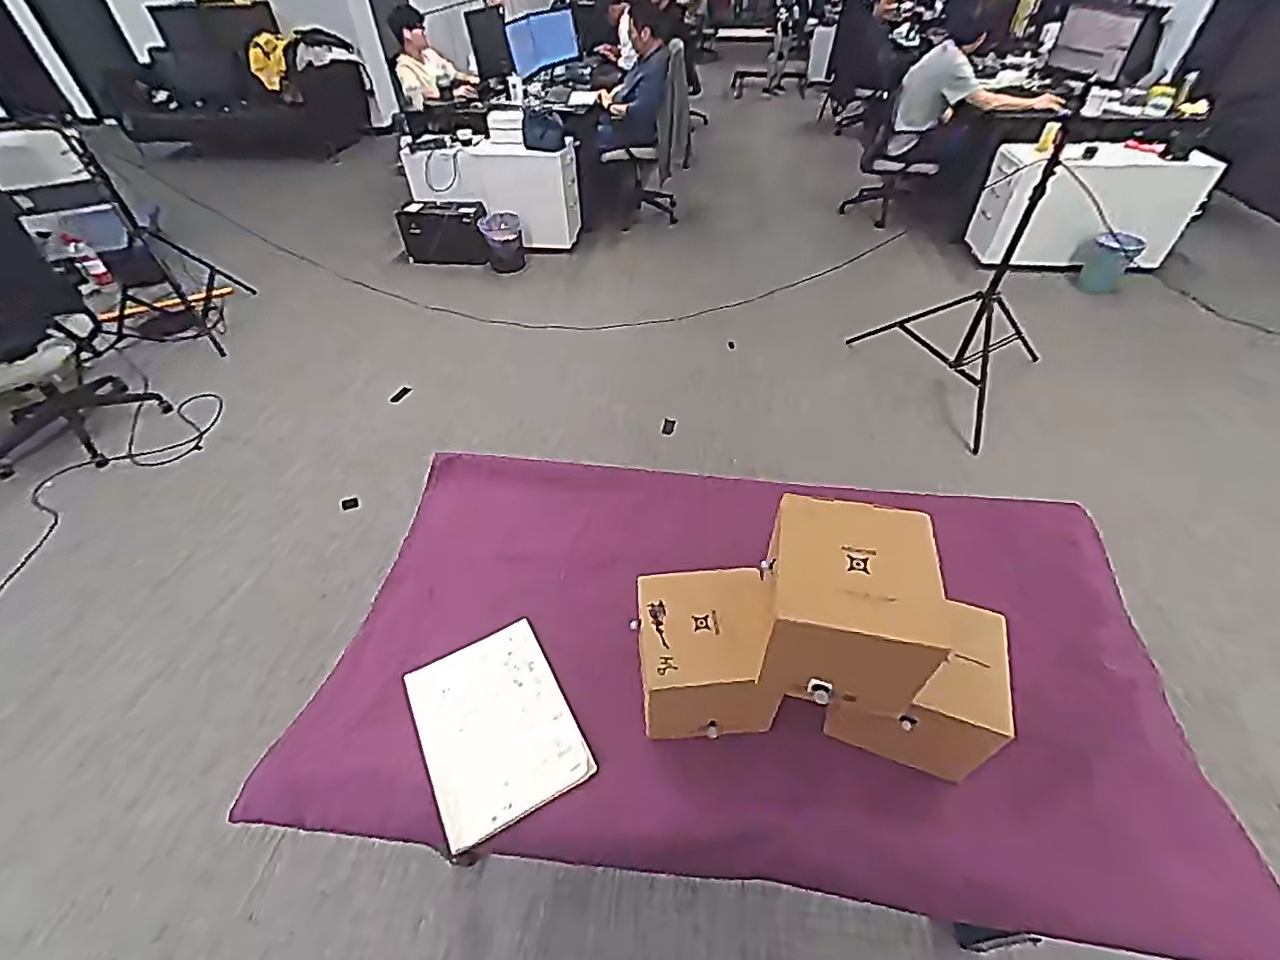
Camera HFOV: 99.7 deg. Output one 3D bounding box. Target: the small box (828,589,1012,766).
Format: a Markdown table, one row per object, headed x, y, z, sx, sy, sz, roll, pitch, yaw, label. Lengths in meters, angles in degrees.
| x | y | z | sx | sy | sz | roll | pitch | yaw | label |
| --- | --- | --- | --- | --- | --- | --- | --- | --- | --- |
| 0.366 | 0.254 | 0.729 | 0.179 | 0.176 | 0.168 | 15 | 48 | 17 | small box |

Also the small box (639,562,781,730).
| x | y | z | sx | sy | sz | roll | pitch | yaw | label |
| --- | --- | --- | --- | --- | --- | --- | --- | --- | --- |
| 0.090 | 0.235 | 0.762 | 0.179 | 0.176 | 0.168 | -3 | 44 | -3 | small box |

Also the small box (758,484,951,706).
| x | y | z | sx | sy | sz | roll | pitch | yaw | label |
| --- | --- | --- | --- | --- | --- | --- | --- | --- | --- |
| 0.232 | 0.131 | 0.629 | 0.168 | 0.176 | 0.179 | 7 | 46 | 11 | small box |
